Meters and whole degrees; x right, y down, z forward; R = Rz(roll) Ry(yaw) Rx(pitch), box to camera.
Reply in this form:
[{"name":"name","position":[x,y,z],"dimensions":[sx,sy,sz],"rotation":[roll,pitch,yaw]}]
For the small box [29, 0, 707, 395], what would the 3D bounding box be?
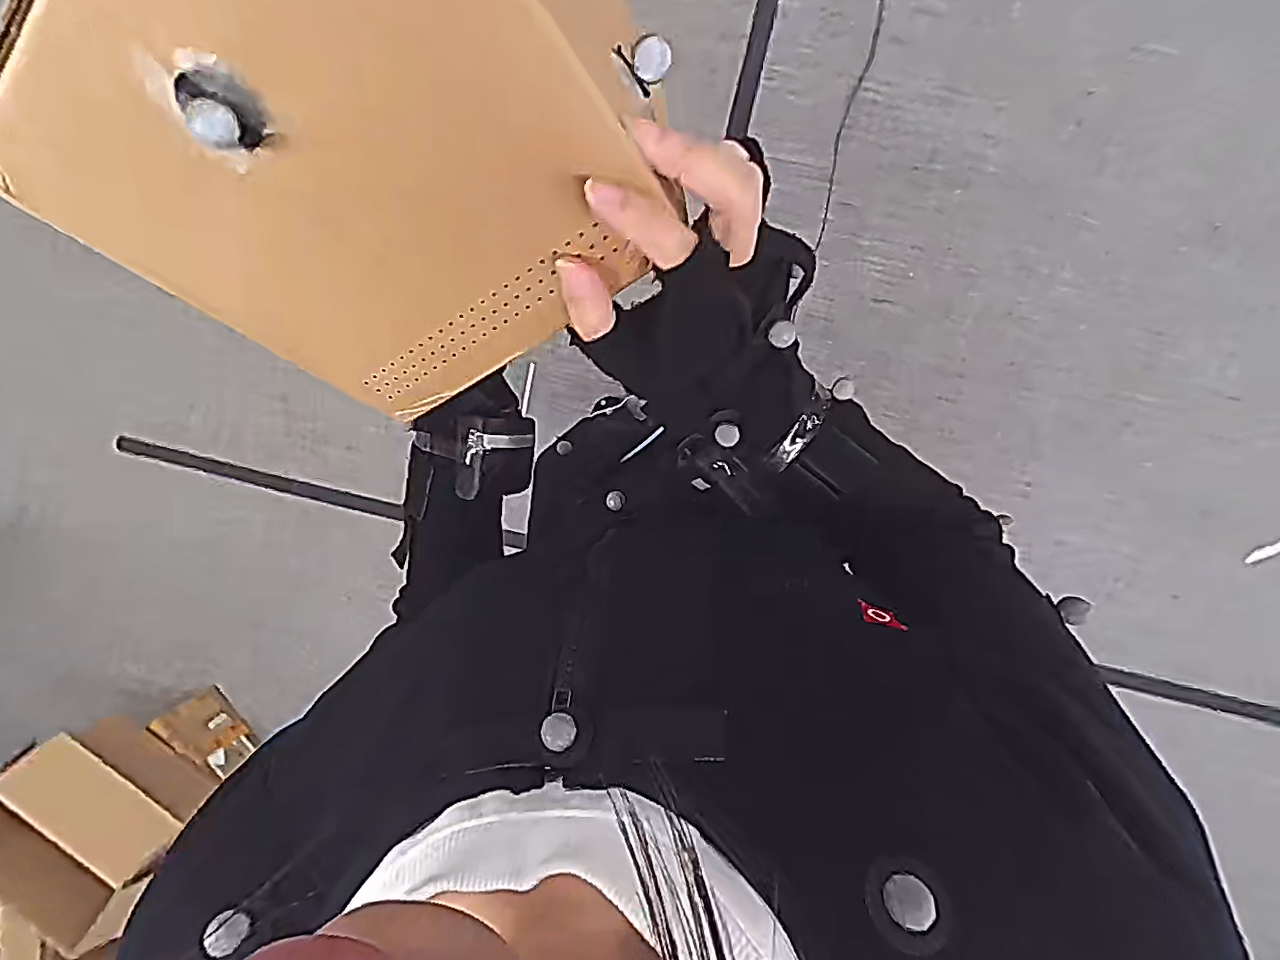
[{"name":"small box","position":[-0.092,-0.168,0.245],"dimensions":[0.179,0.176,0.168],"rotation":[-23,55,24]}]
